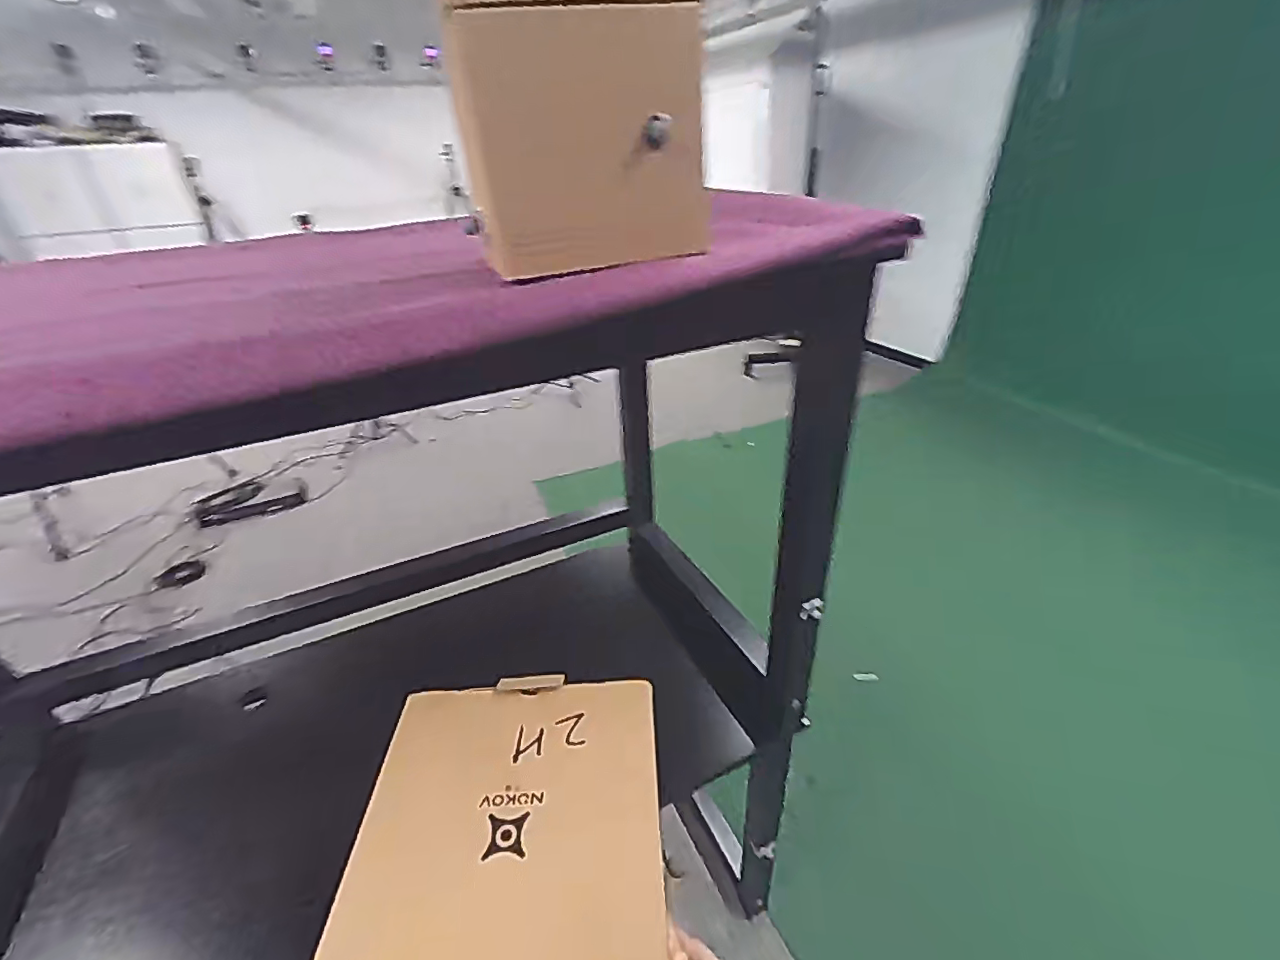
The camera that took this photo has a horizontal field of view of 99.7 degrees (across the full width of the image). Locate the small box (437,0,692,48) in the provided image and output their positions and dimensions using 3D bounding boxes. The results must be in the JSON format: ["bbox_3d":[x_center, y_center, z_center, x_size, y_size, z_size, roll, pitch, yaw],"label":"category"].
[{"bbox_3d":[-0.072,-0.418,0.392,0.179,0.176,0.168,-13,30,-13],"label":"small box"}]

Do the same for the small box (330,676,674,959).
[{"bbox_3d":[-0.063,0.255,0.350,0.168,0.176,0.179,-2,33,0],"label":"small box"}]

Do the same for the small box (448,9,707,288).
[{"bbox_3d":[-0.053,-0.276,0.468,0.179,0.176,0.168,-16,31,-15],"label":"small box"}]
